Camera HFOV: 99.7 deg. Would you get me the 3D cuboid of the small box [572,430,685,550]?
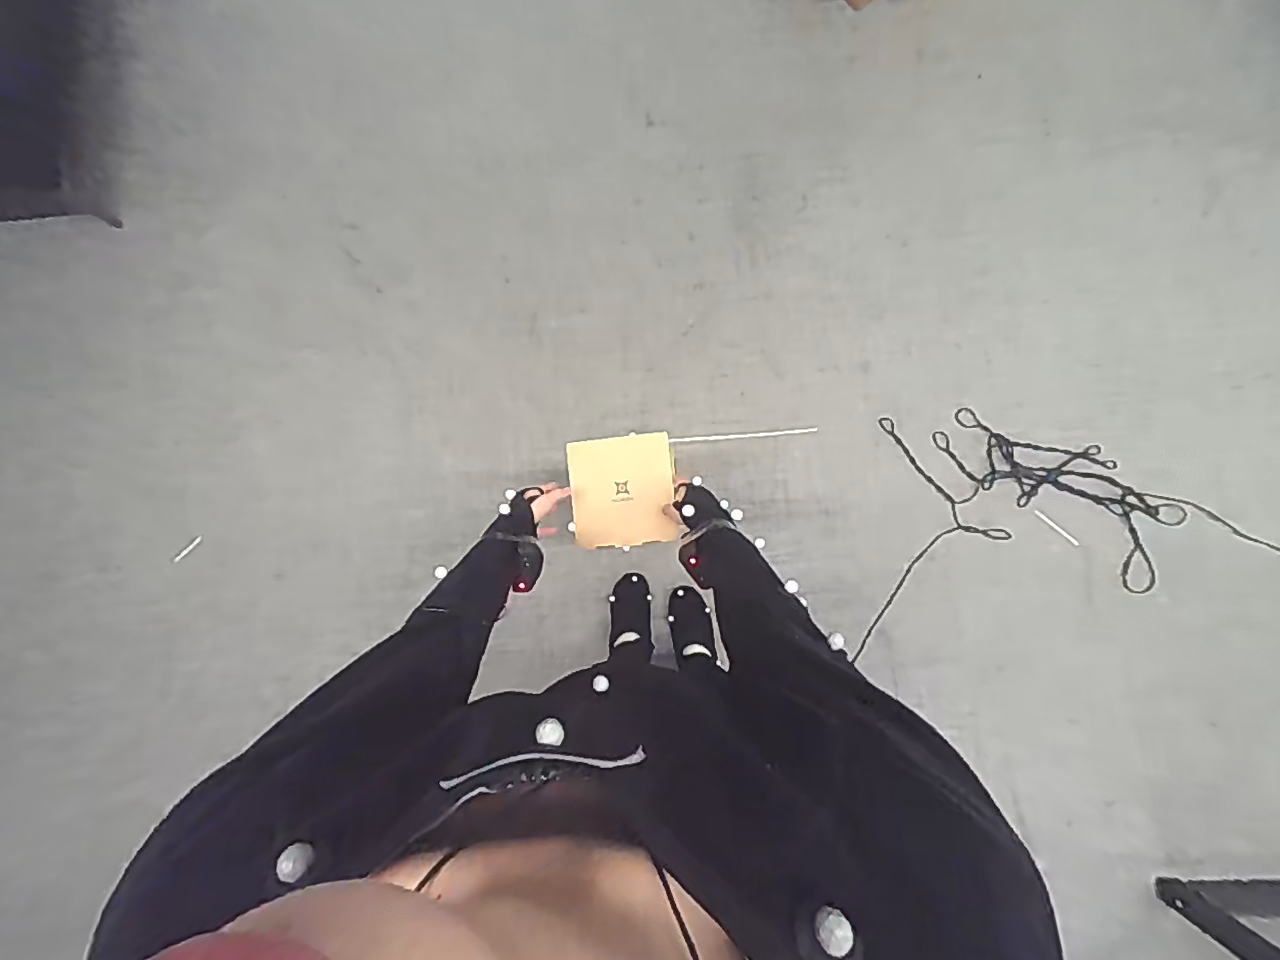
[{"bbox_3d":[-0.016,0.021,0.926,0.168,0.176,0.179,-7,87,3],"label":"small box"}]
